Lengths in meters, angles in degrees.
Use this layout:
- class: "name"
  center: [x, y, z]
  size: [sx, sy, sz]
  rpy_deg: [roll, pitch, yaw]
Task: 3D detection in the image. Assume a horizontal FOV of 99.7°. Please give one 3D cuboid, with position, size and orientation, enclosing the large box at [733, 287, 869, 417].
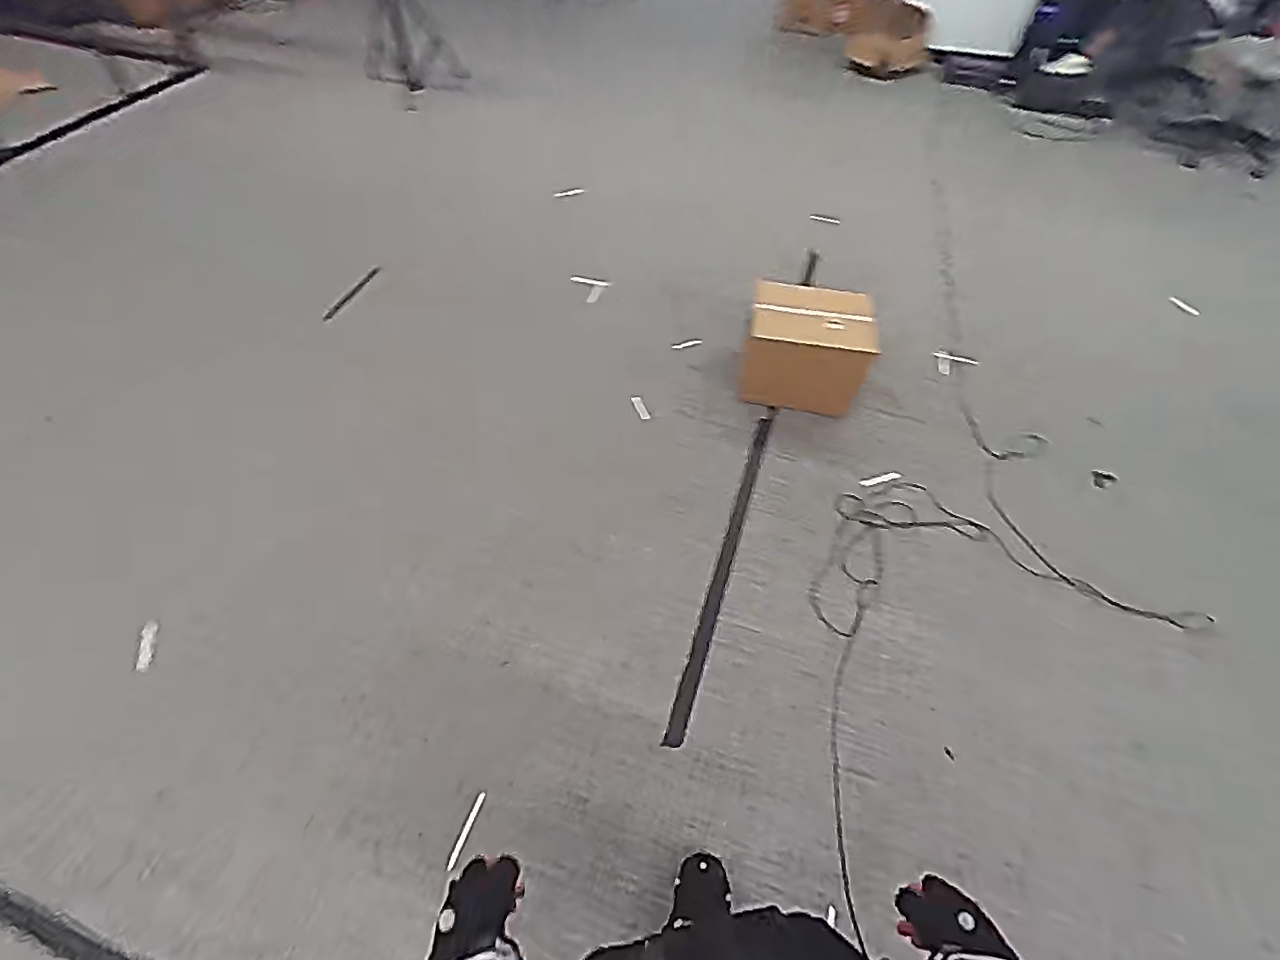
- class: "large box"
  center: [0.566, -0.464, 1.971]
  size: [0.408, 0.320, 0.320]
  rpy_deg: [9, 54, 5]
